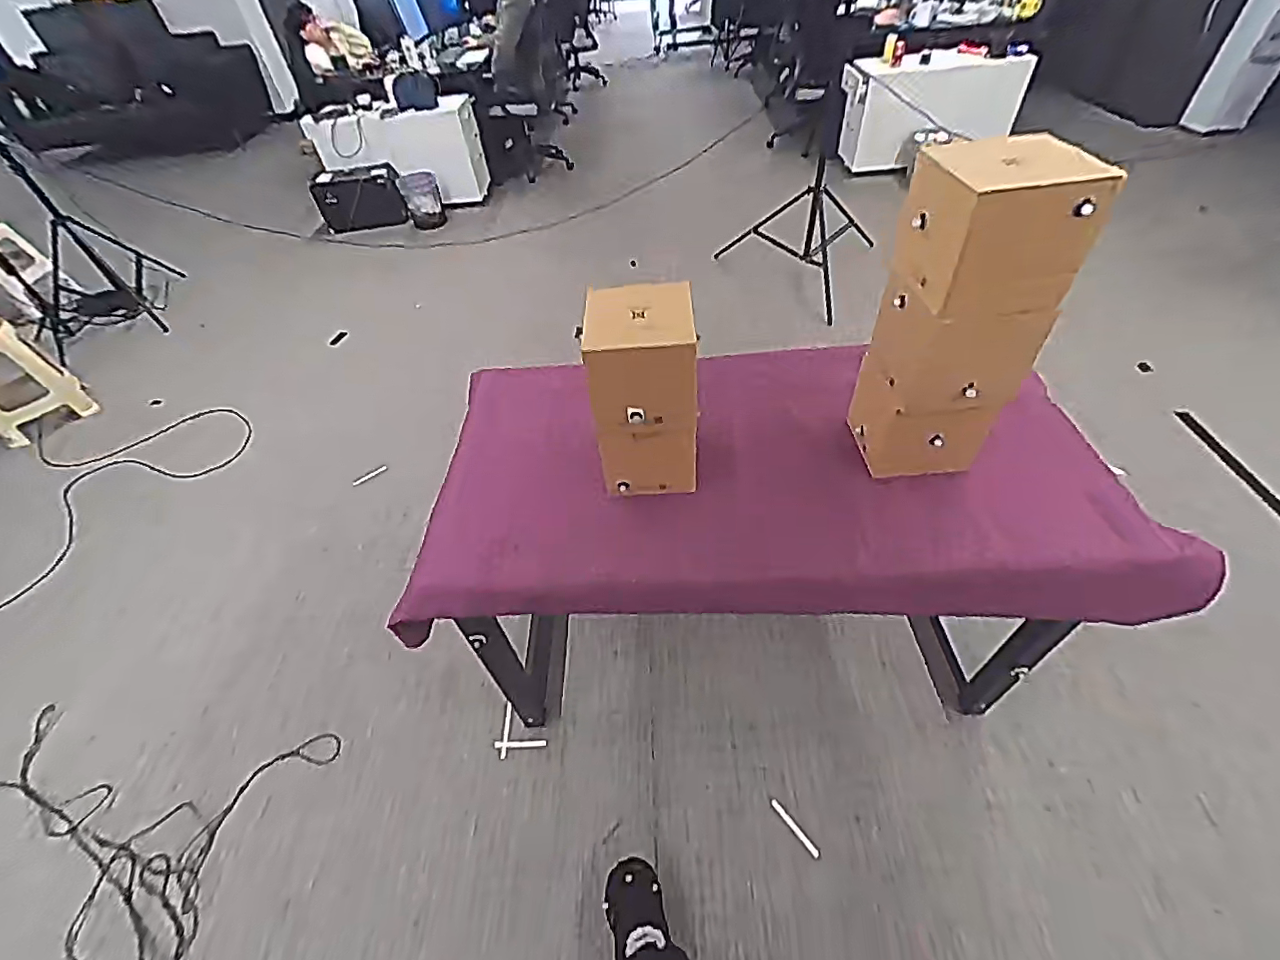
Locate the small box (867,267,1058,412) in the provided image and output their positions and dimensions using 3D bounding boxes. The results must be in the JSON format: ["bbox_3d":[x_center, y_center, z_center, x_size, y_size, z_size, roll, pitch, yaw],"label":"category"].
[{"bbox_3d":[0.487,-0.225,0.850,0.179,0.176,0.168,-6,47,0],"label":"small box"}]

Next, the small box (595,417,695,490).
[{"bbox_3d":[0.014,-0.092,0.998,0.168,0.176,0.179,-3,46,3],"label":"small box"}]

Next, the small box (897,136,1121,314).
[{"bbox_3d":[0.473,-0.342,0.736,0.179,0.176,0.168,-7,47,0],"label":"small box"}]

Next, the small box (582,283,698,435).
[{"bbox_3d":[0.005,-0.193,0.870,0.168,0.176,0.179,-4,48,3],"label":"small box"}]
